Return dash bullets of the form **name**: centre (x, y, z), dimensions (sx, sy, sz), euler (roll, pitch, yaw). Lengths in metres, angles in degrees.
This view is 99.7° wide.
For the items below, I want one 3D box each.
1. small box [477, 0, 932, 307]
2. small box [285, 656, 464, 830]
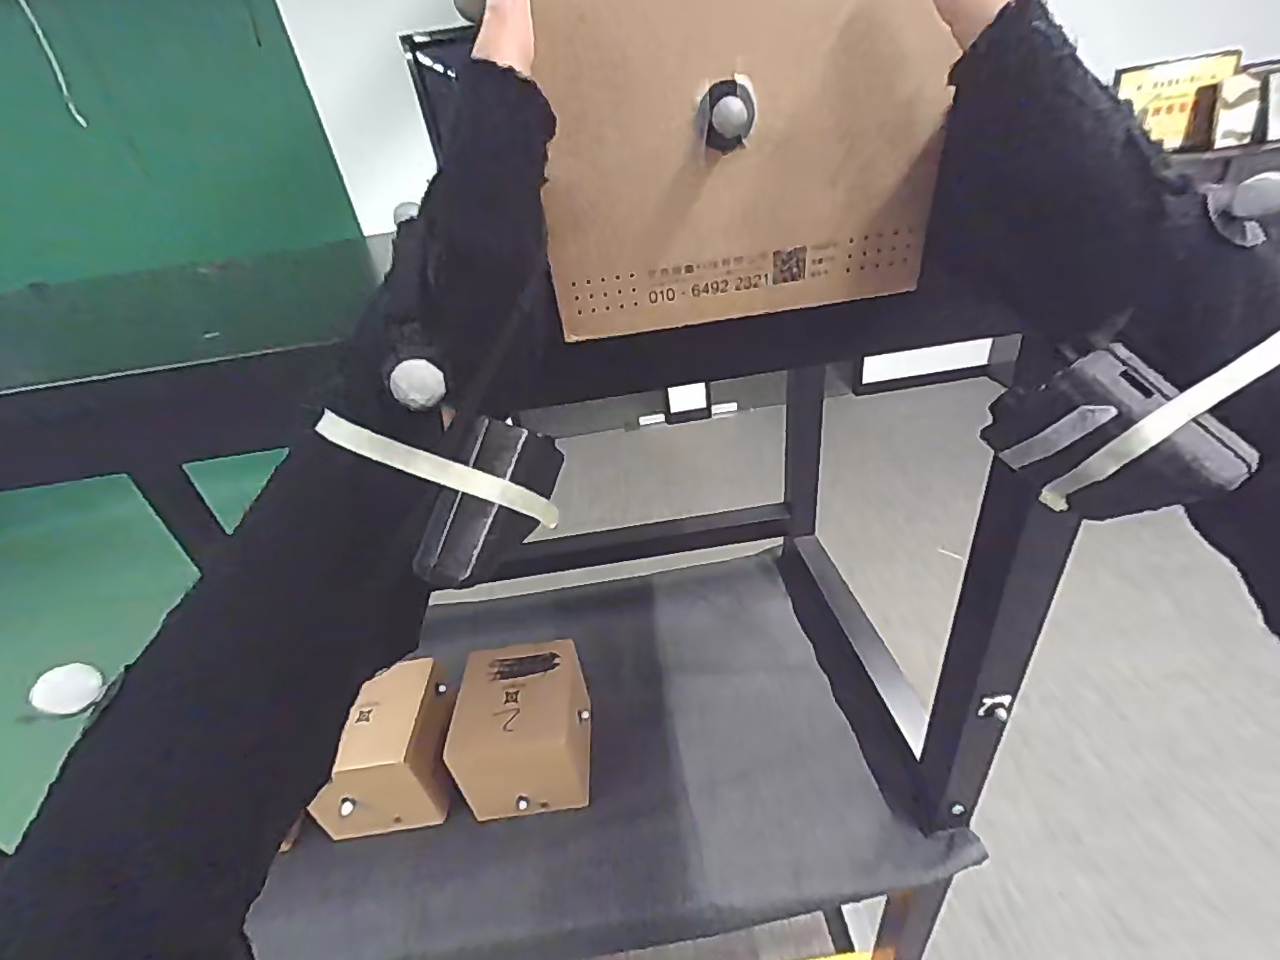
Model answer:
- **small box**: centre (0.024, -0.195, 0.266), dimensions (0.168, 0.176, 0.179), euler (-8, 38, 1)
- **small box**: centre (-0.382, 0.401, 0.819), dimensions (0.168, 0.176, 0.179), euler (-8, 31, 0)
